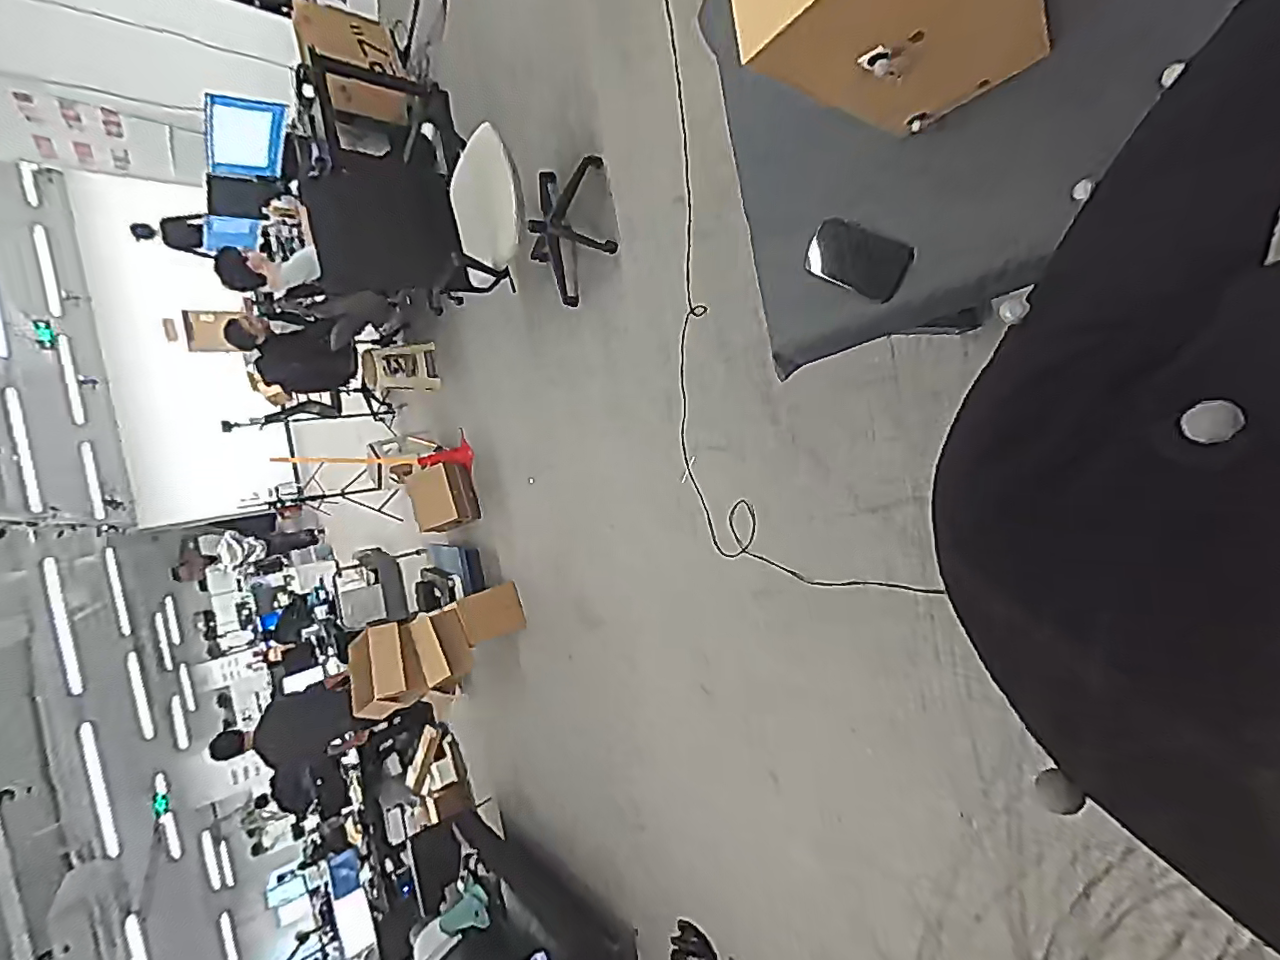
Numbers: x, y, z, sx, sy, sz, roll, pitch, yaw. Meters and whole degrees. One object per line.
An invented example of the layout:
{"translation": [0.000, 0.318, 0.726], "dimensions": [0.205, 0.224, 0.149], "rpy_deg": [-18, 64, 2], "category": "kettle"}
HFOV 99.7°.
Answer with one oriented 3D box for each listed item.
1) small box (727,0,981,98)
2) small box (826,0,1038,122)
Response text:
{"translation": [0.190, -0.500, 0.495], "dimensions": [0.168, 0.176, 0.179], "rpy_deg": [-7, 95, 52], "category": "small box"}
{"translation": [0.312, -0.531, 0.597], "dimensions": [0.168, 0.176, 0.179], "rpy_deg": [-6, 94, 51], "category": "small box"}
